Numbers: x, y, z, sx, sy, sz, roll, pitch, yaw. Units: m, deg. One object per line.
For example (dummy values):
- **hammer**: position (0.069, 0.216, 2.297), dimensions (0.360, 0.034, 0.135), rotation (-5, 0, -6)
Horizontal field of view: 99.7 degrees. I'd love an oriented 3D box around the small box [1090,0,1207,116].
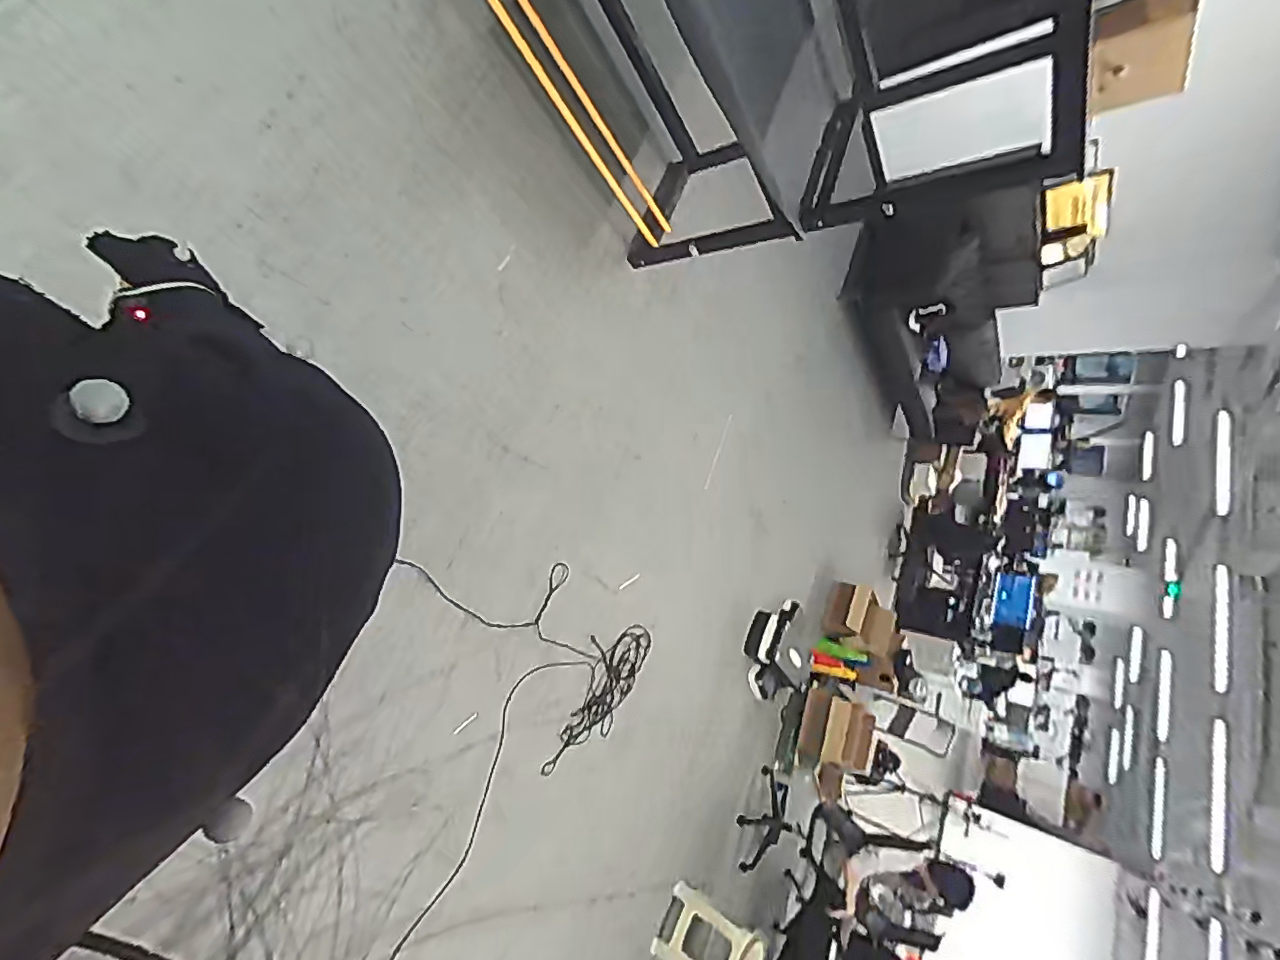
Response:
- **small box**: position (1.145, -0.975, 1.225), dimensions (0.168, 0.176, 0.179), rotation (47, 61, -43)
